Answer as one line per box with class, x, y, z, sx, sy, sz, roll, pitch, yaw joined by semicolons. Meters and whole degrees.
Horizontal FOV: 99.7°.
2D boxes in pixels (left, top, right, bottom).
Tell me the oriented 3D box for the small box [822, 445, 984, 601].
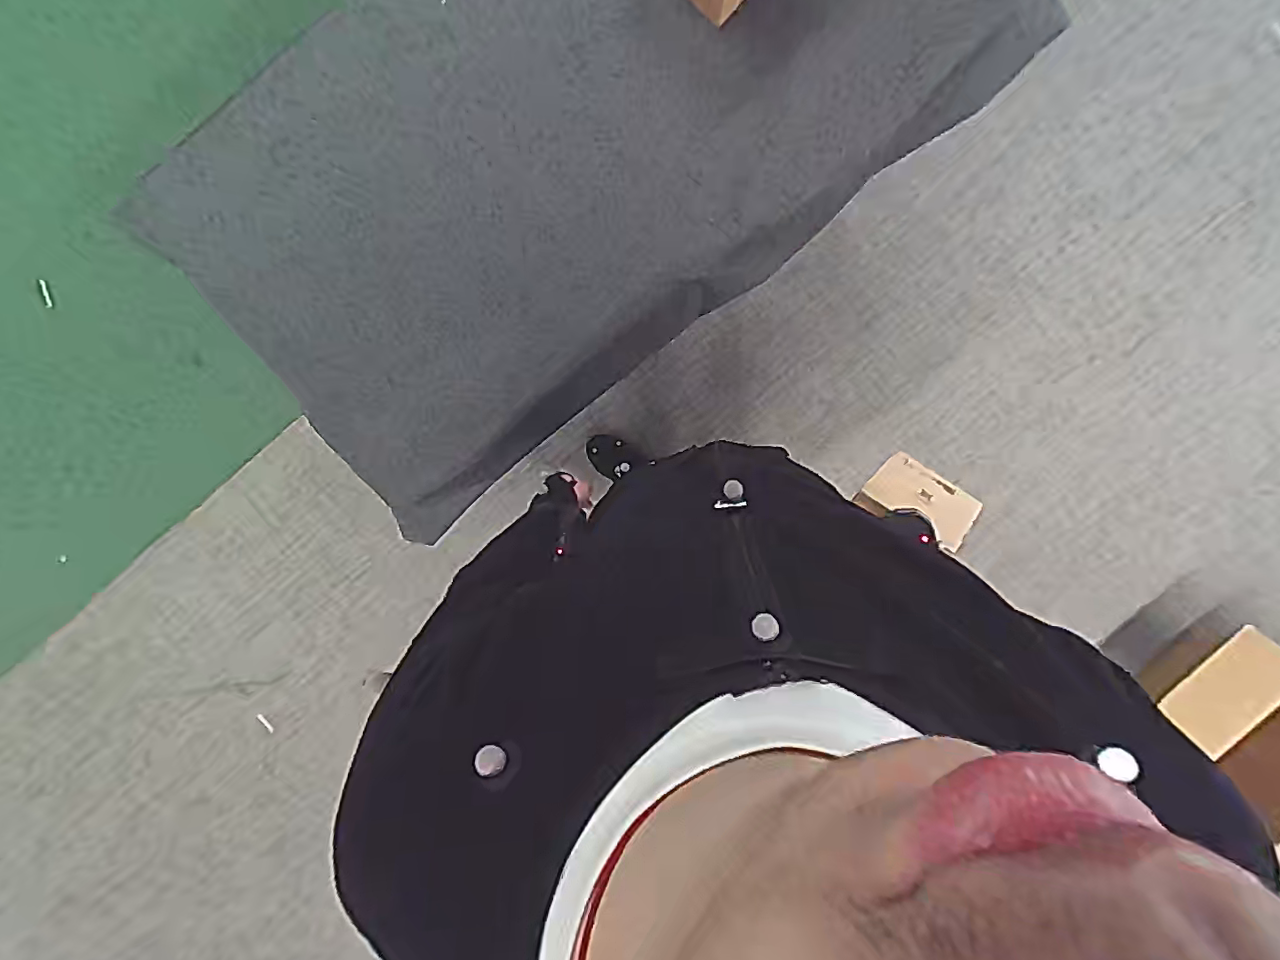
small box;0.444;0.077;0.938;0.168;0.176;0.179;42;50;20
